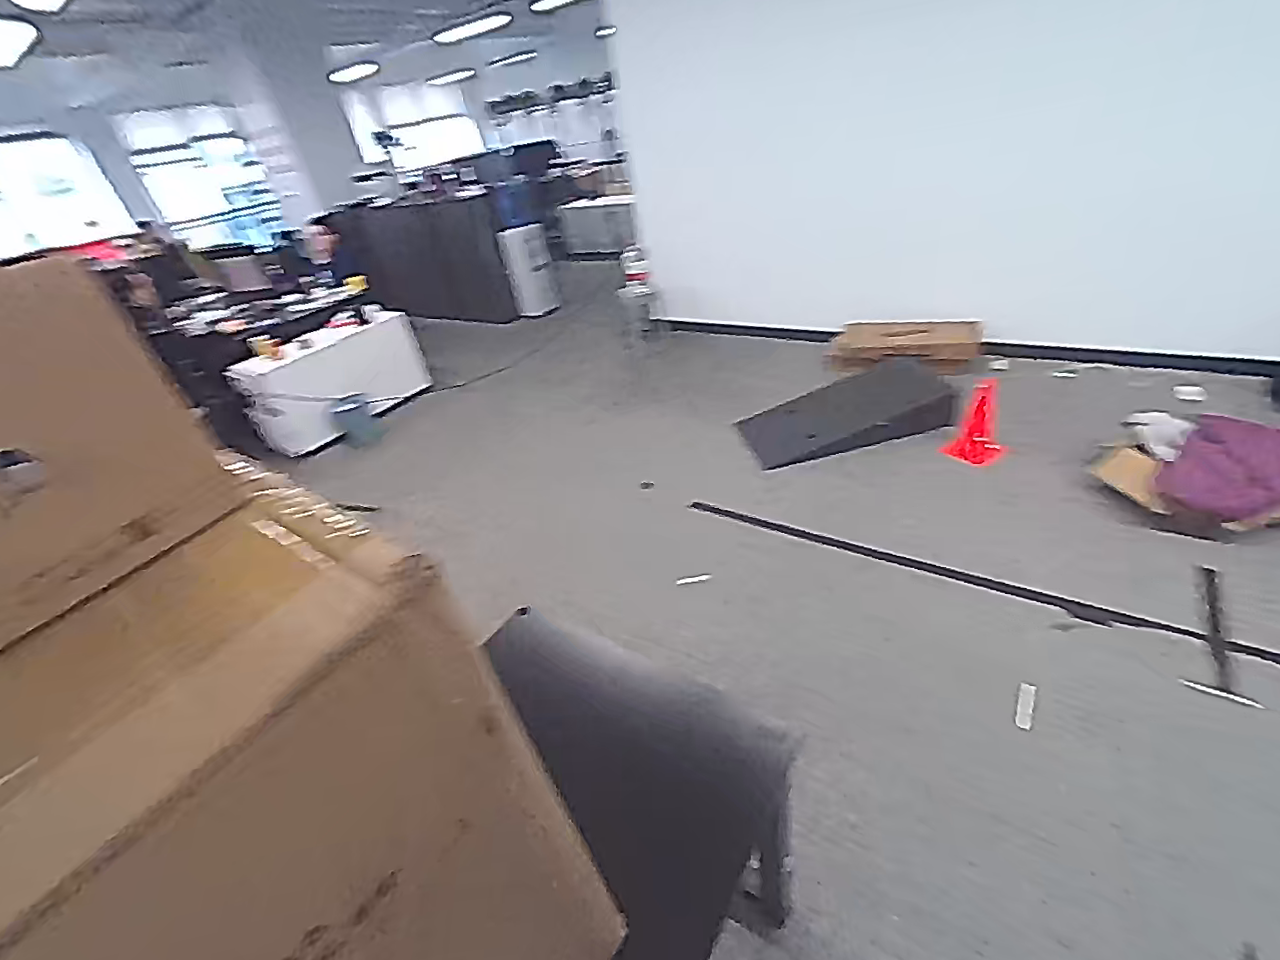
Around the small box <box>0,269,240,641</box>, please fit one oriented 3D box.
[{"bbox_3d":[-0.399,-0.015,0.328,0.179,0.176,0.168,11,40,31],"label":"small box"}]
